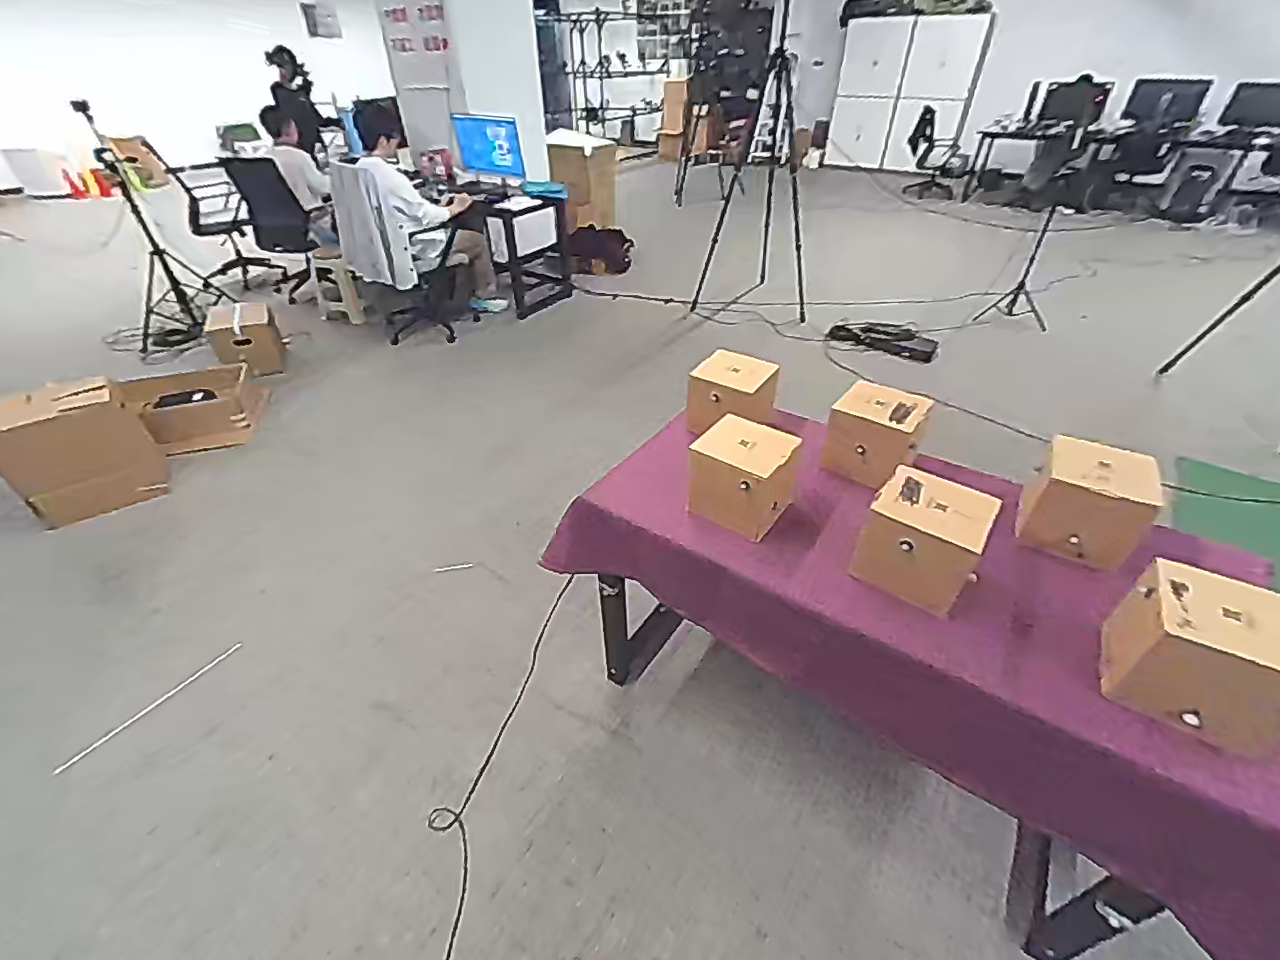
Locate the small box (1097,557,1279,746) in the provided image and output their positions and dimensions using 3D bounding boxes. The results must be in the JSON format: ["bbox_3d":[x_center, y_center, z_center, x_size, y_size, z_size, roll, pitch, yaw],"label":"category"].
[{"bbox_3d":[0.816,0.252,0.786,0.179,0.176,0.168,23,44,27],"label":"small box"}]

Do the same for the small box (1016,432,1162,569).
[{"bbox_3d":[0.864,0.038,1.054,0.168,0.176,0.179,21,44,26],"label":"small box"}]

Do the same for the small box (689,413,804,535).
[{"bbox_3d":[0.216,-0.013,1.135,0.179,0.176,0.168,25,45,28],"label":"small box"}]

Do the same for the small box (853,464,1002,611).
[{"bbox_3d":[0.512,0.104,0.981,0.179,0.176,0.168,27,46,29],"label":"small box"}]
